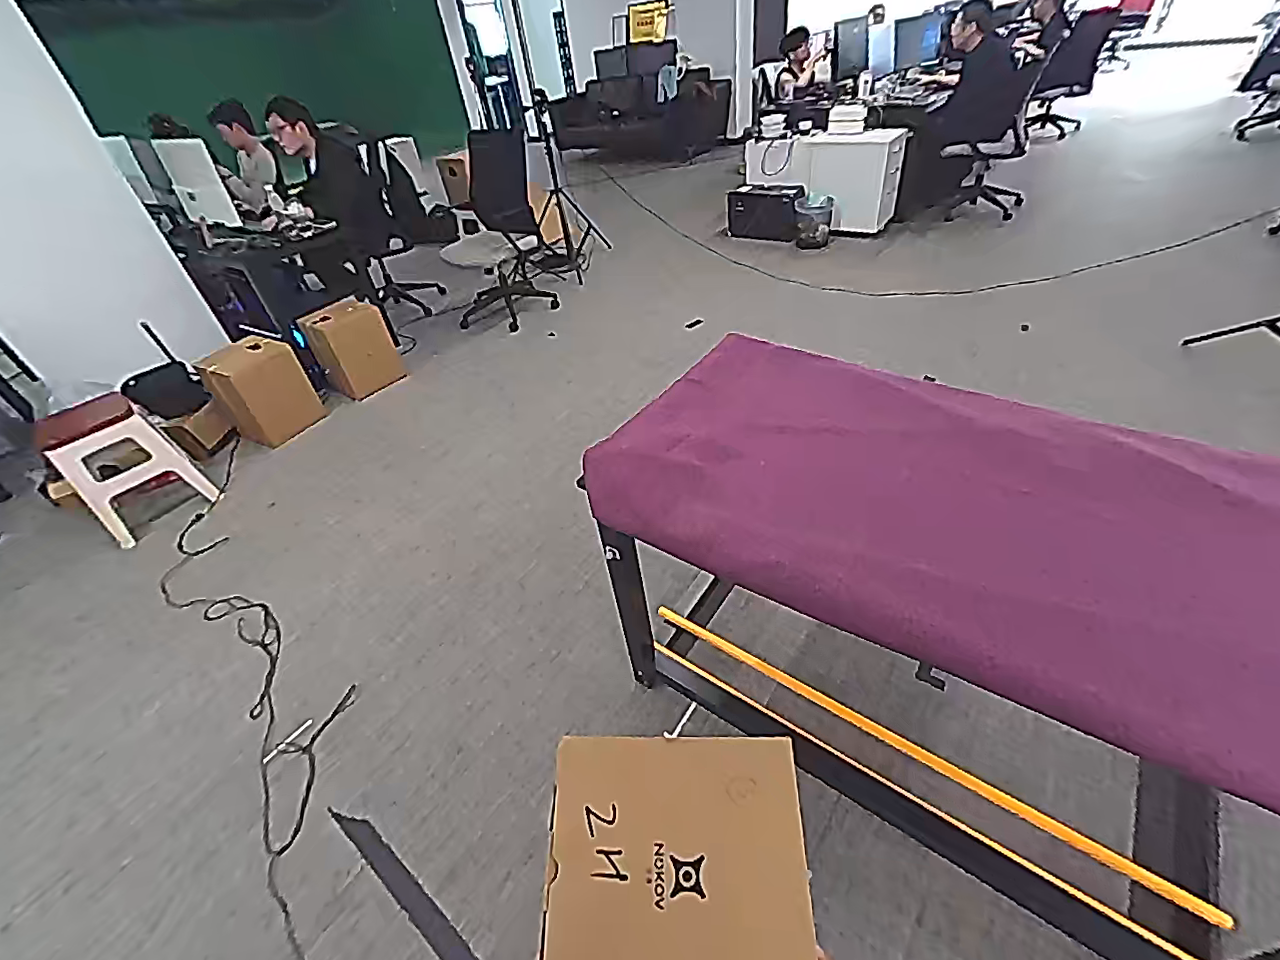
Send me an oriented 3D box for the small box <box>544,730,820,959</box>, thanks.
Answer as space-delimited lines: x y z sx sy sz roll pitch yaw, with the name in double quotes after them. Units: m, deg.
0.034 0.301 0.430 0.179 0.176 0.168 -2 57 6 "small box"
